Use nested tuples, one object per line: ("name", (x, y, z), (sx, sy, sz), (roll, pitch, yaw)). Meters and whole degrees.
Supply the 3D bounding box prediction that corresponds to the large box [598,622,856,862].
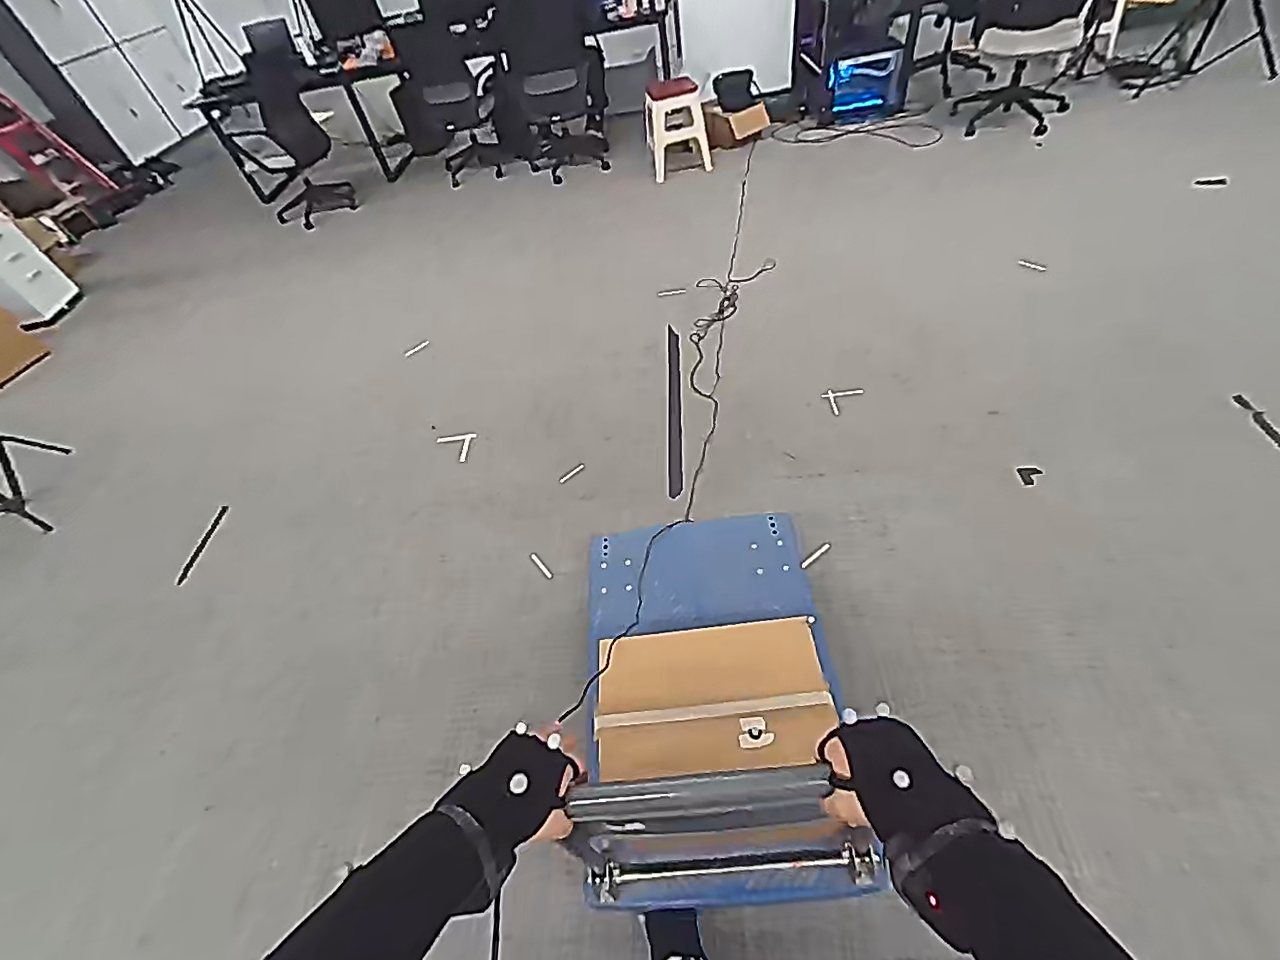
("large box", (0.146, 0.509, 1.038), (0.408, 0.320, 0.320), (-8, 48, 5))
